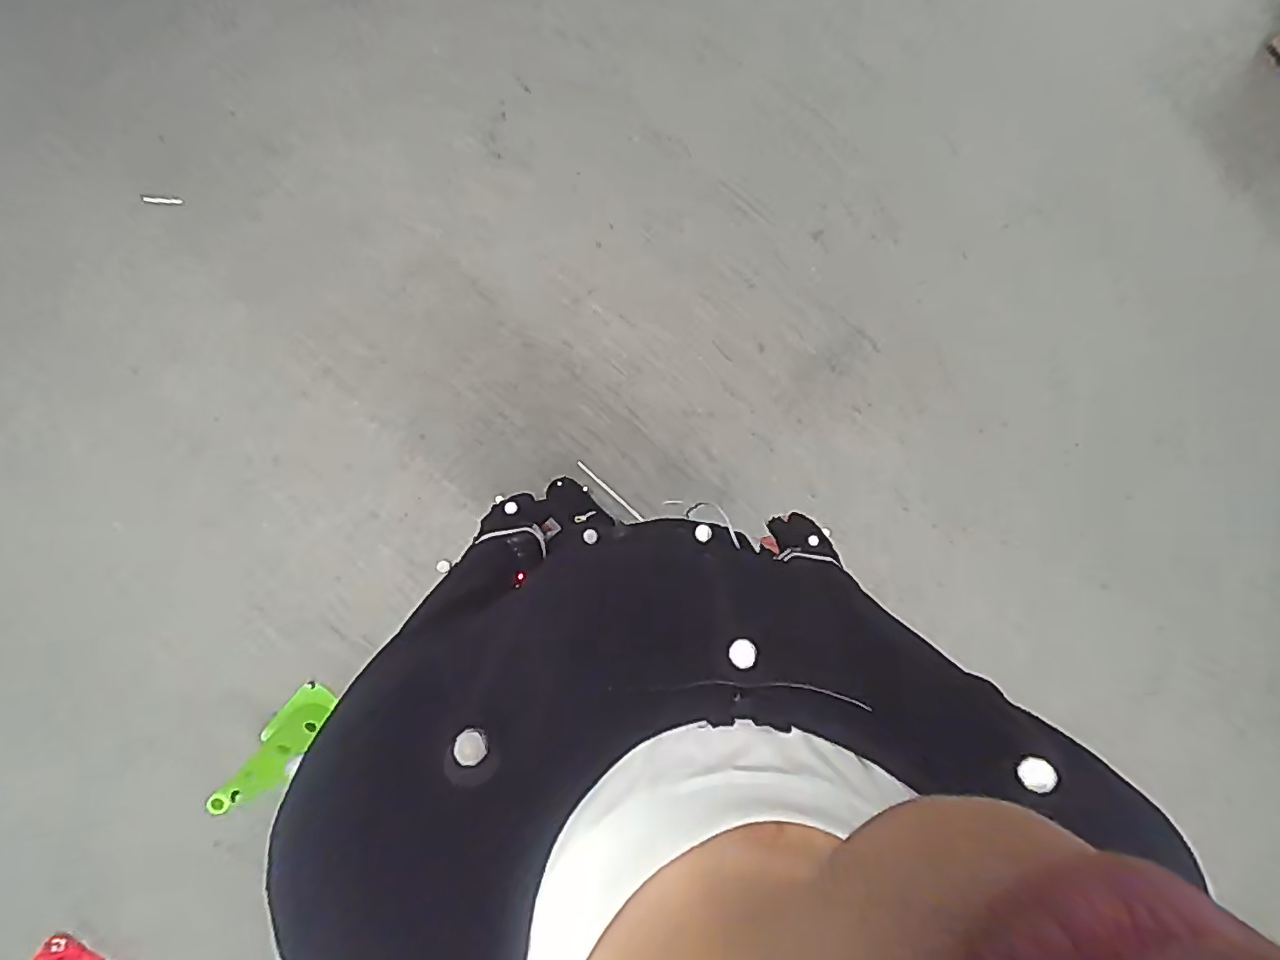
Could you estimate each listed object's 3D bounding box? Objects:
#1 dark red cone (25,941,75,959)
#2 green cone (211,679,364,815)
[{"bbox_3d":[-1.430,1.250,1.157,0.202,0.394,0.201,36,87,-1],"label":"dark red cone"},{"bbox_3d":[-0.844,0.644,1.240,0.202,0.368,0.200,41,87,-2],"label":"green cone"}]
